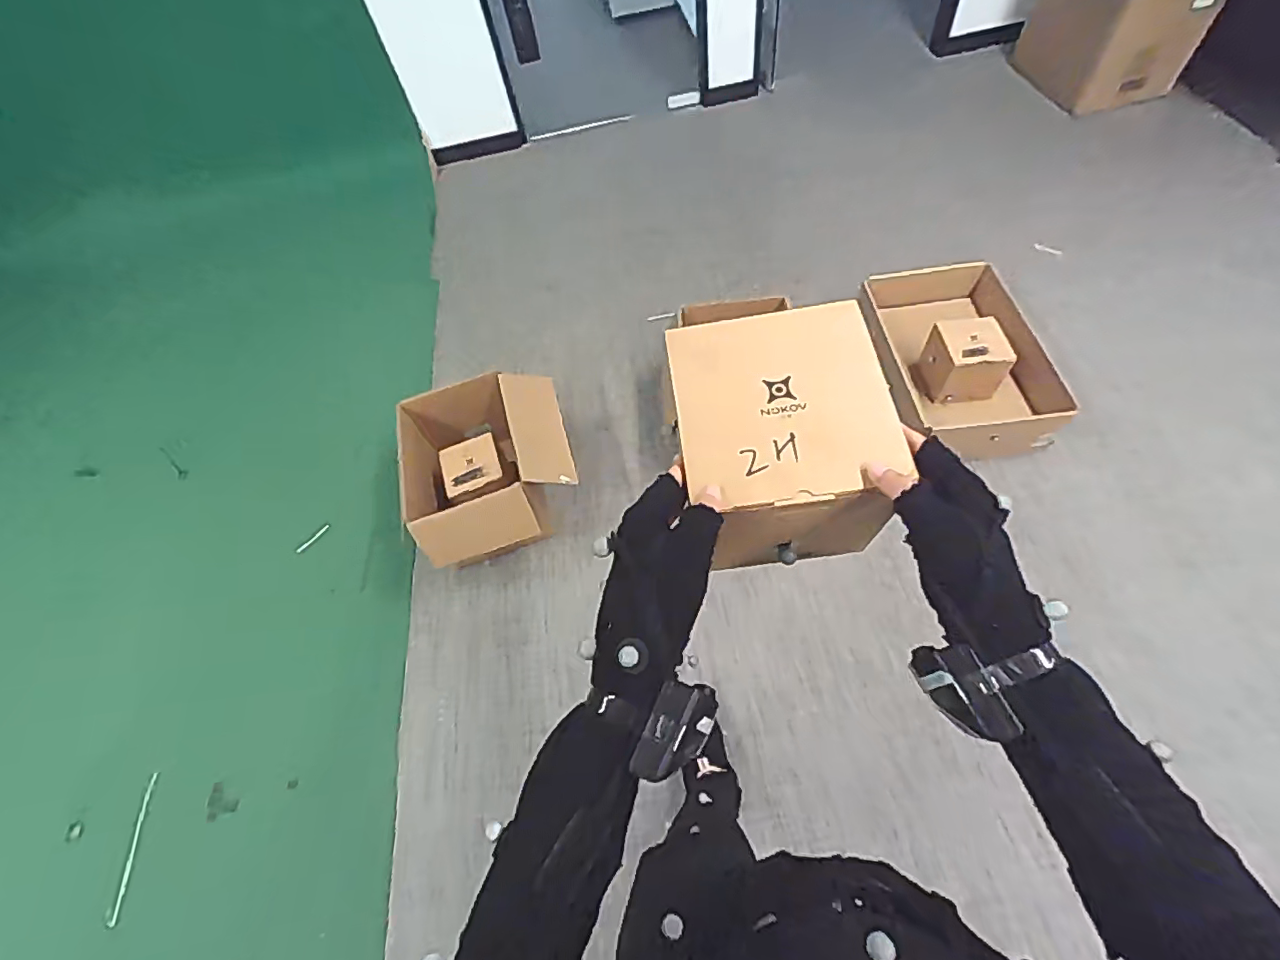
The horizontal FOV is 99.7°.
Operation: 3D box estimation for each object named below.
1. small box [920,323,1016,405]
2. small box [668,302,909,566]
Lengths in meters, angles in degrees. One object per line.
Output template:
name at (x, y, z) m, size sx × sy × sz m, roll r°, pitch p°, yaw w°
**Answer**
small box at (0.952, -0.332, 1.585) m, size 0.168 × 0.176 × 0.179 m, roll -4°, pitch 56°, yaw 5°
small box at (0.118, -0.033, 0.505) m, size 0.168 × 0.176 × 0.179 m, roll -7°, pitch 65°, yaw 5°
